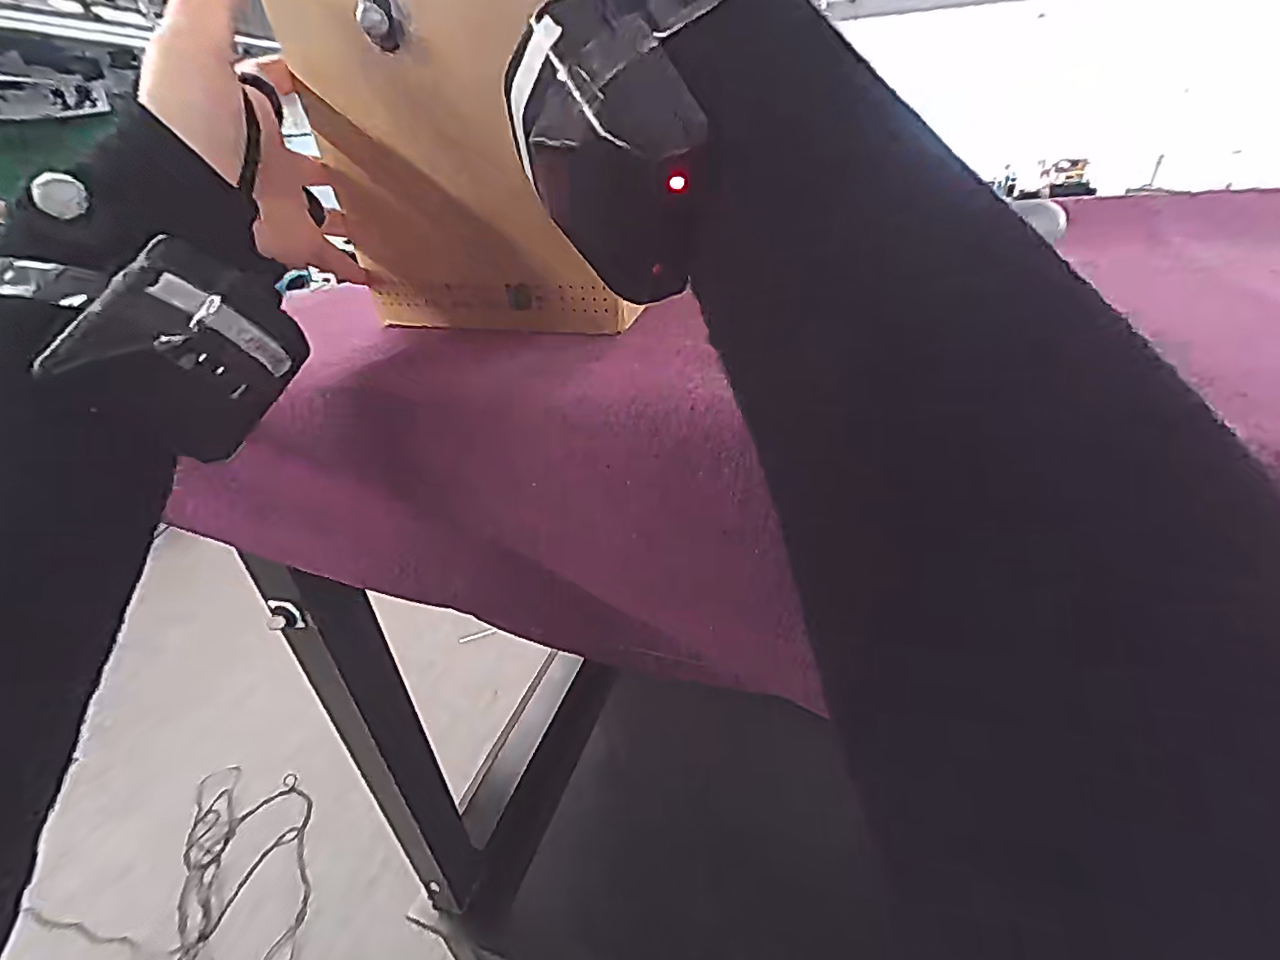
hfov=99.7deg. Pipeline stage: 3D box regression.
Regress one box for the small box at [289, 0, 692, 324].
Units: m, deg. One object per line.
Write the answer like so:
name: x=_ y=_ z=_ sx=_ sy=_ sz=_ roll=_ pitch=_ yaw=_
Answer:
small box: x=-0.066 y=-0.211 z=0.334 sx=0.168 sy=0.176 sz=0.179 roll=7 pitch=39 yaw=15
